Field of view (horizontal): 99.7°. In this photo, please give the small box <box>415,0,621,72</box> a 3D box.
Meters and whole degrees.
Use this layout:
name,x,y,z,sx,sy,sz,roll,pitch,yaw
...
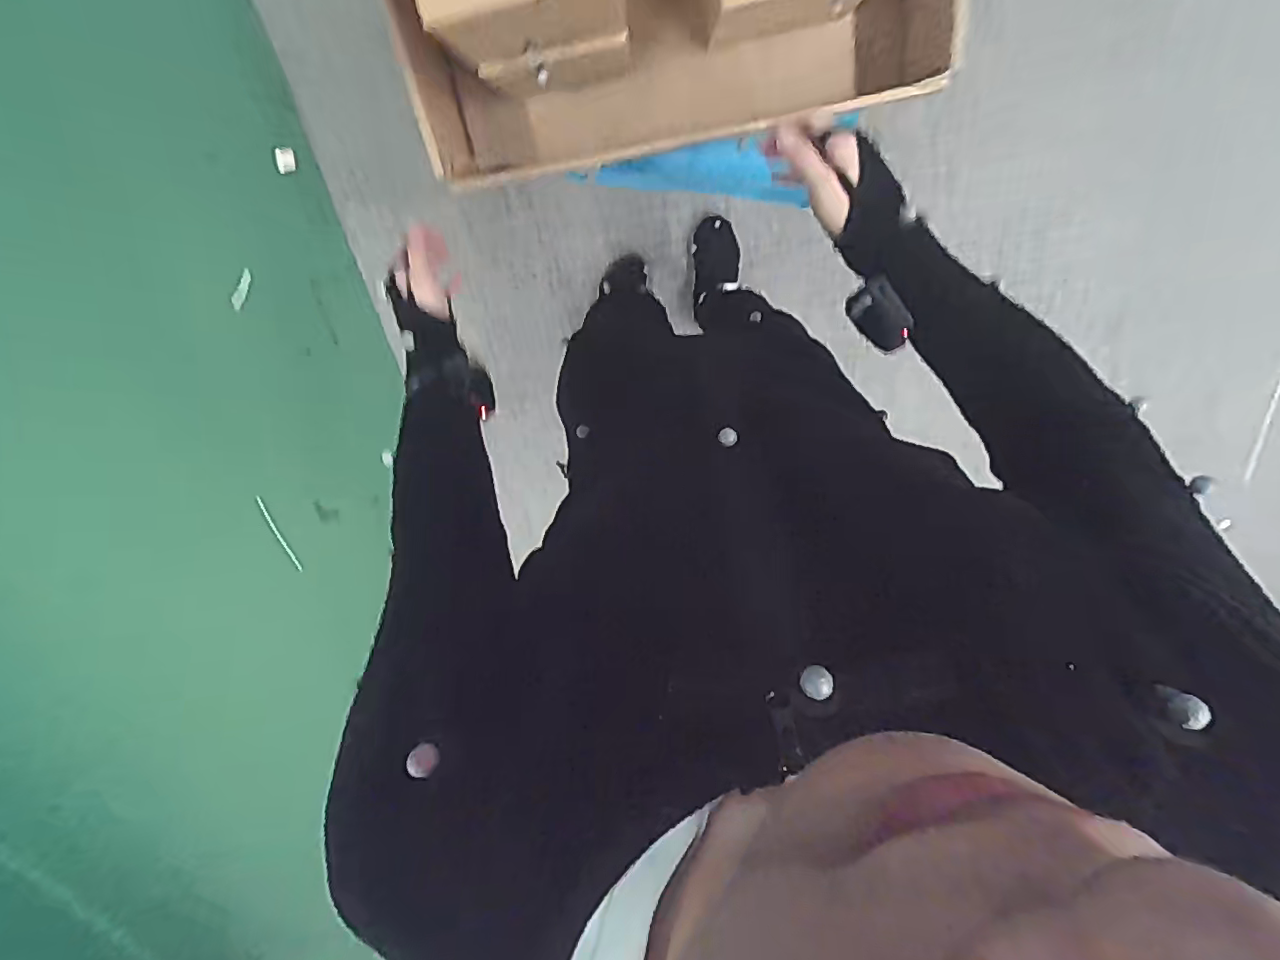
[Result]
name,x,y,z,sx,sy,sz,roll,pitch,yaw
small box,-0.113,-0.493,0.469,0.168,0.176,0.179,-9,116,5

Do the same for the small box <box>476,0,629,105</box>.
name,x,y,z,sx,sy,sz,roll,pitch,yaw
small box,-0.108,-0.561,0.618,0.168,0.176,0.179,-9,115,6
